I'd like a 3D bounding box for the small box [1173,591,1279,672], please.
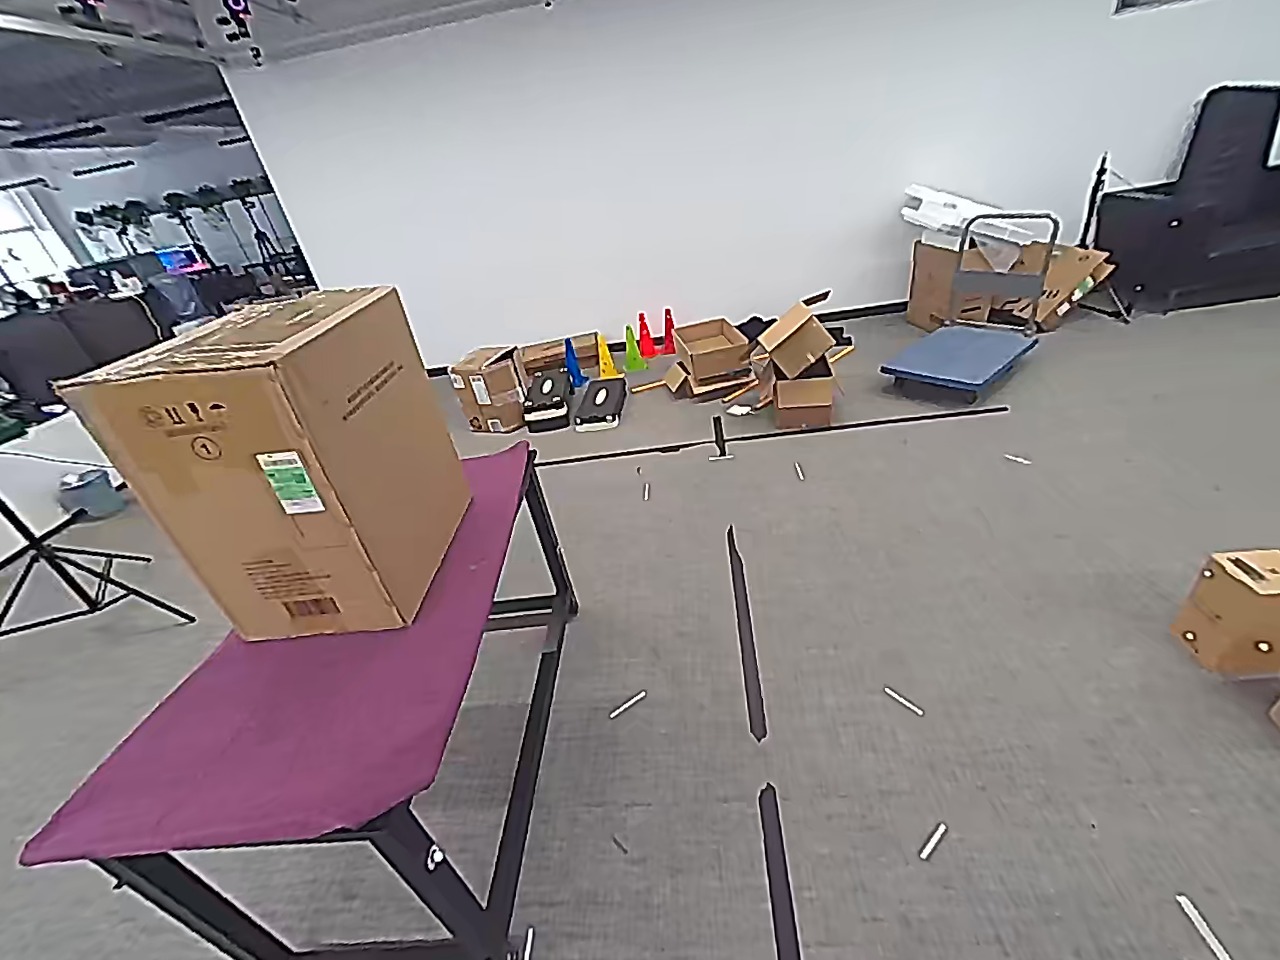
[{"bbox_3d":[1.748,0.447,1.593,0.179,0.176,0.168,-5,31,9],"label":"small box"}]
